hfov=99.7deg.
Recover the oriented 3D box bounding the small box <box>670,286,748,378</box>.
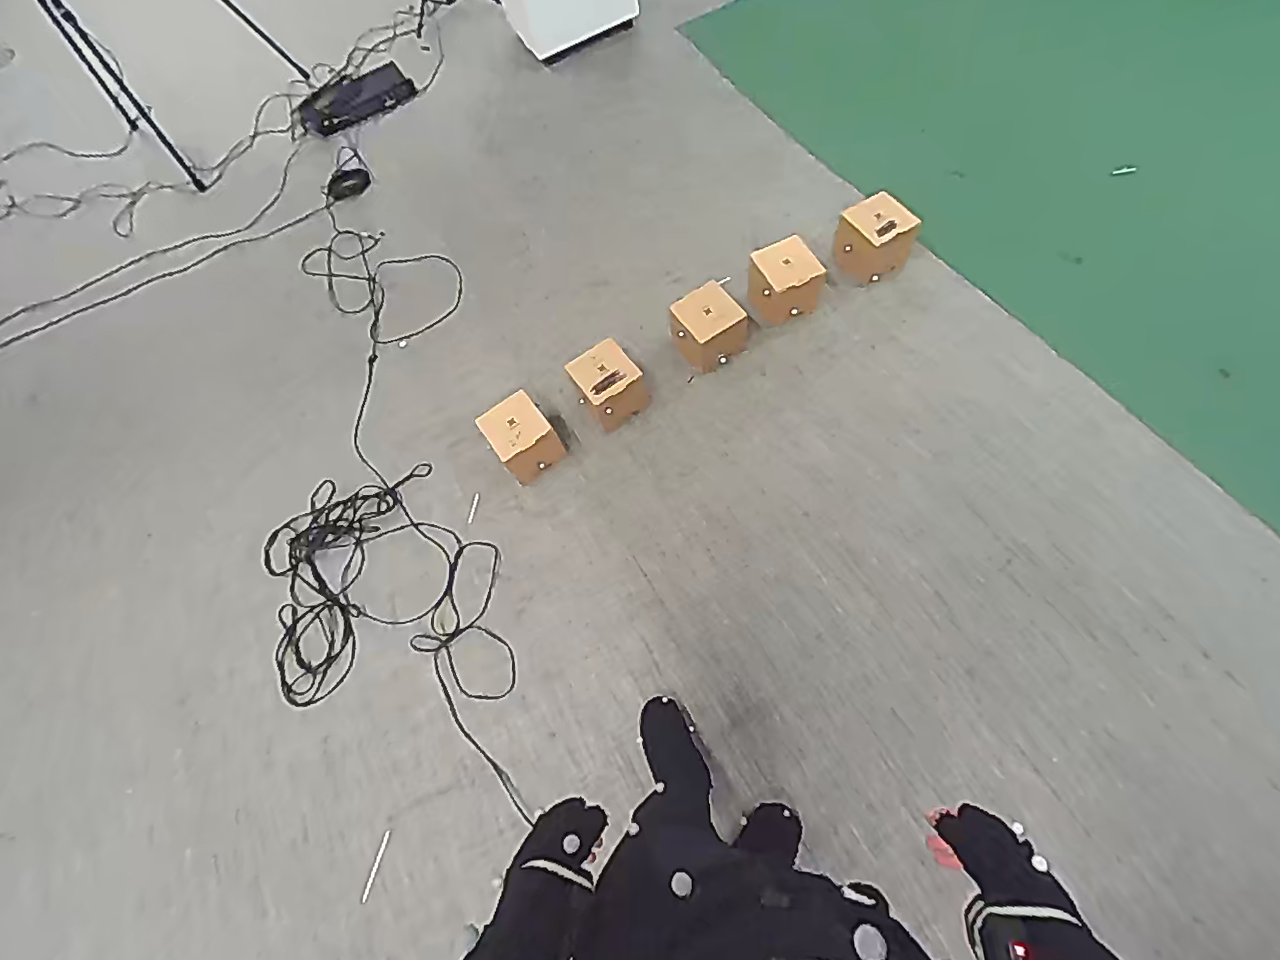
[{"bbox_3d":[0.209,-0.446,1.652,0.168,0.176,0.179,-33,67,-6],"label":"small box"}]

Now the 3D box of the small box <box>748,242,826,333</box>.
[{"bbox_3d":[0.450,-0.596,1.688,0.168,0.176,0.179,-24,65,-3],"label":"small box"}]

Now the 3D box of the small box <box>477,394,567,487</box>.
[{"bbox_3d":[-0.338,-0.109,1.576,0.168,0.176,0.179,-36,66,-8],"label":"small box"}]

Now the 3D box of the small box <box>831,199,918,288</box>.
[{"bbox_3d":[0.734,-0.738,1.713,0.168,0.176,0.179,-28,64,-6],"label":"small box"}]
